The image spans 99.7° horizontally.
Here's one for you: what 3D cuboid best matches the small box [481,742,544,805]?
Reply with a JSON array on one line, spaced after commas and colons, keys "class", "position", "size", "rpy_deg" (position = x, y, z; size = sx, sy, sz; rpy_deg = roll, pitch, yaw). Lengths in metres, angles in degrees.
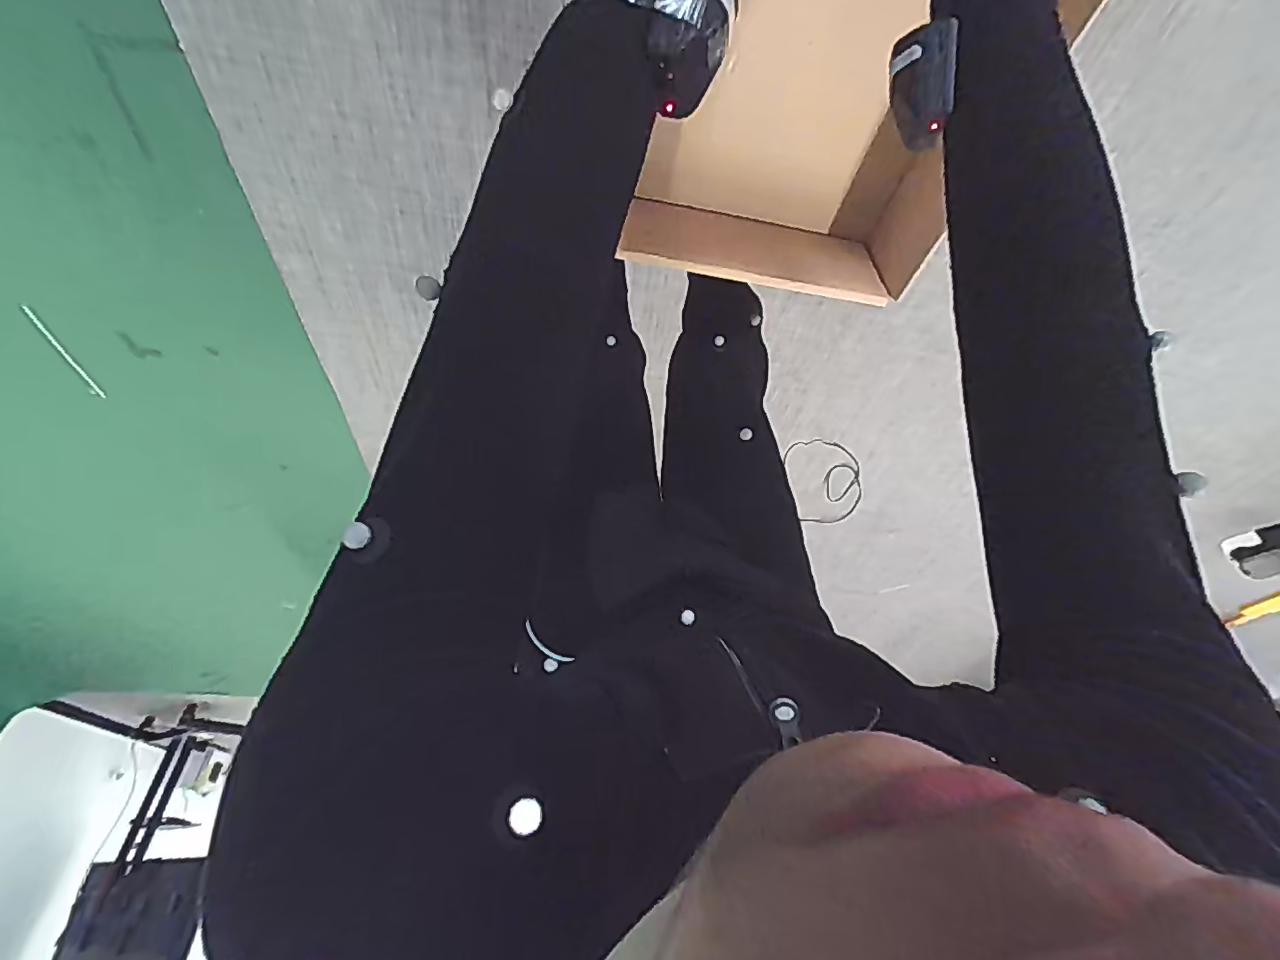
[{"class": "small box", "position": [-0.426, 0.996, 1.836], "size": [0.168, 0.176, 0.179], "rpy_deg": [-1, 143, 2]}]
